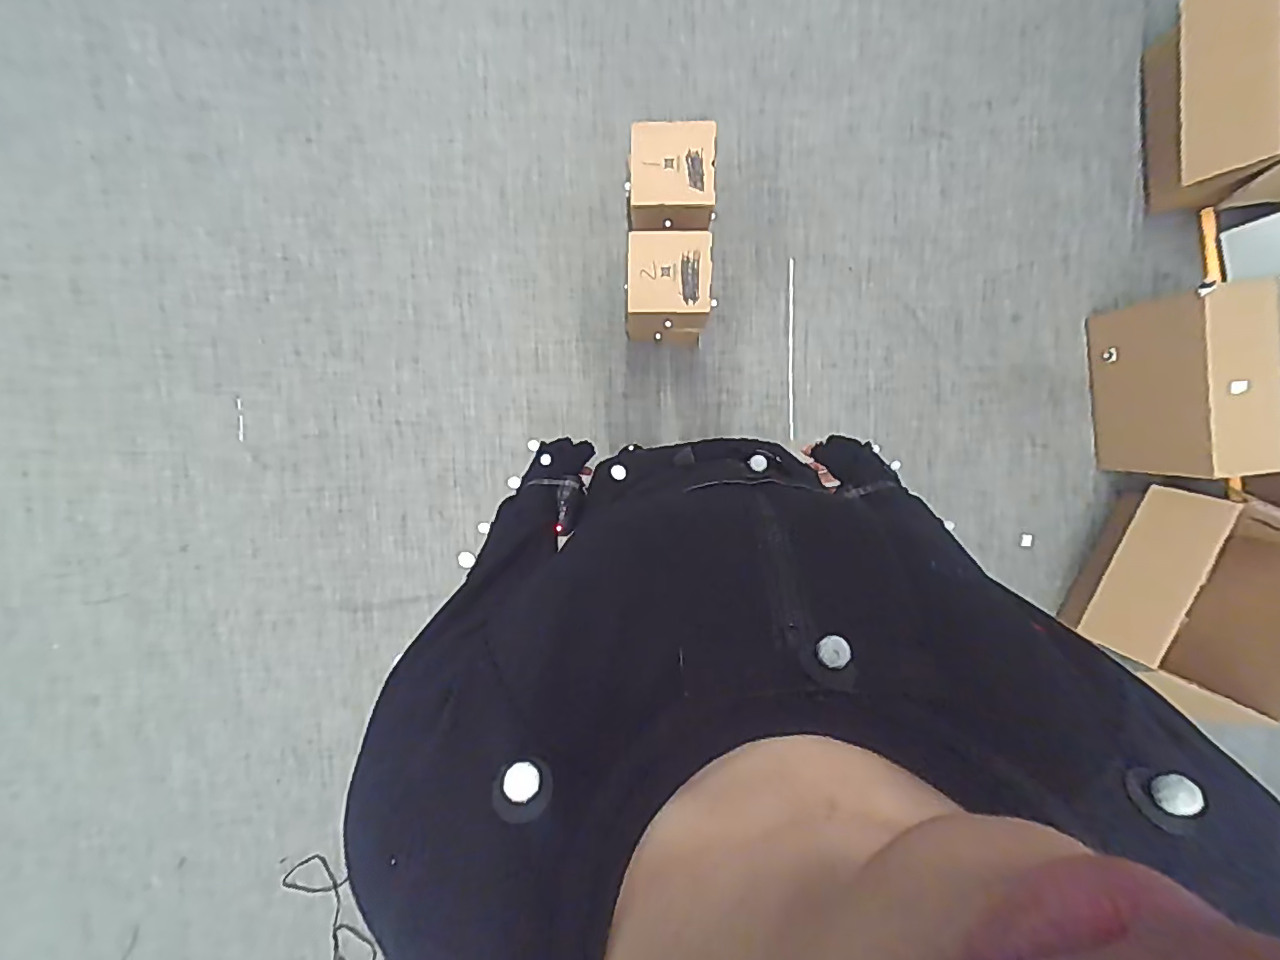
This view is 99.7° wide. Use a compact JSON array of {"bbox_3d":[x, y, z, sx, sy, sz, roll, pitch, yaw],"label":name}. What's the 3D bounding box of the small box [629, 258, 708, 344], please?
[{"bbox_3d":[0.070,-0.441,1.357,0.179,0.176,0.168,5,95,1],"label":"small box"}]
